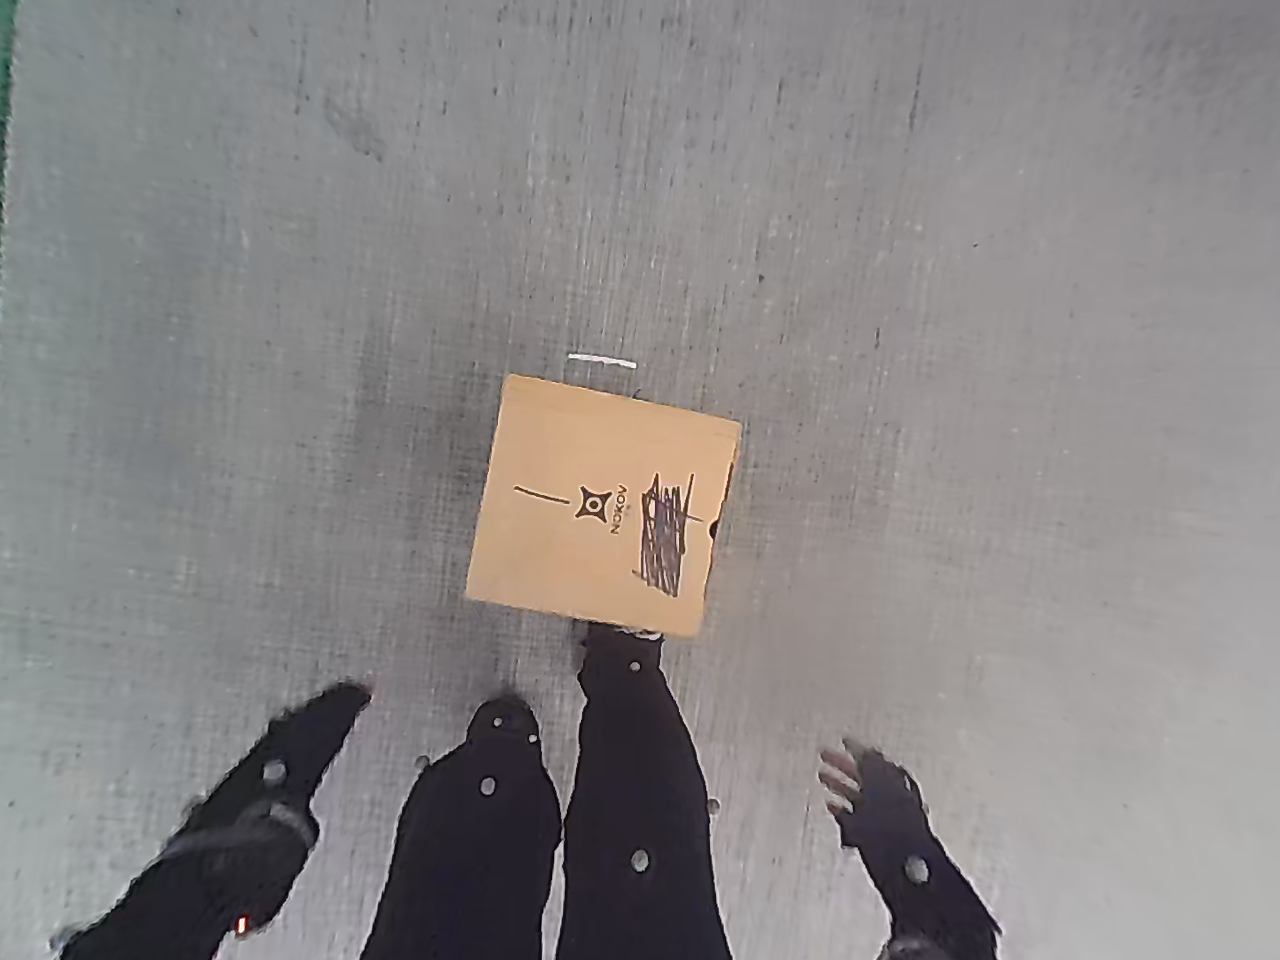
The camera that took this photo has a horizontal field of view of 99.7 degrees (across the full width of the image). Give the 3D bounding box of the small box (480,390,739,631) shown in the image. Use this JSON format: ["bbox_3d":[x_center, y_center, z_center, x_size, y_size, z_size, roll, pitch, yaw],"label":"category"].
[{"bbox_3d":[-0.031,0.021,0.482,0.179,0.176,0.168,8,92,-7],"label":"small box"}]
